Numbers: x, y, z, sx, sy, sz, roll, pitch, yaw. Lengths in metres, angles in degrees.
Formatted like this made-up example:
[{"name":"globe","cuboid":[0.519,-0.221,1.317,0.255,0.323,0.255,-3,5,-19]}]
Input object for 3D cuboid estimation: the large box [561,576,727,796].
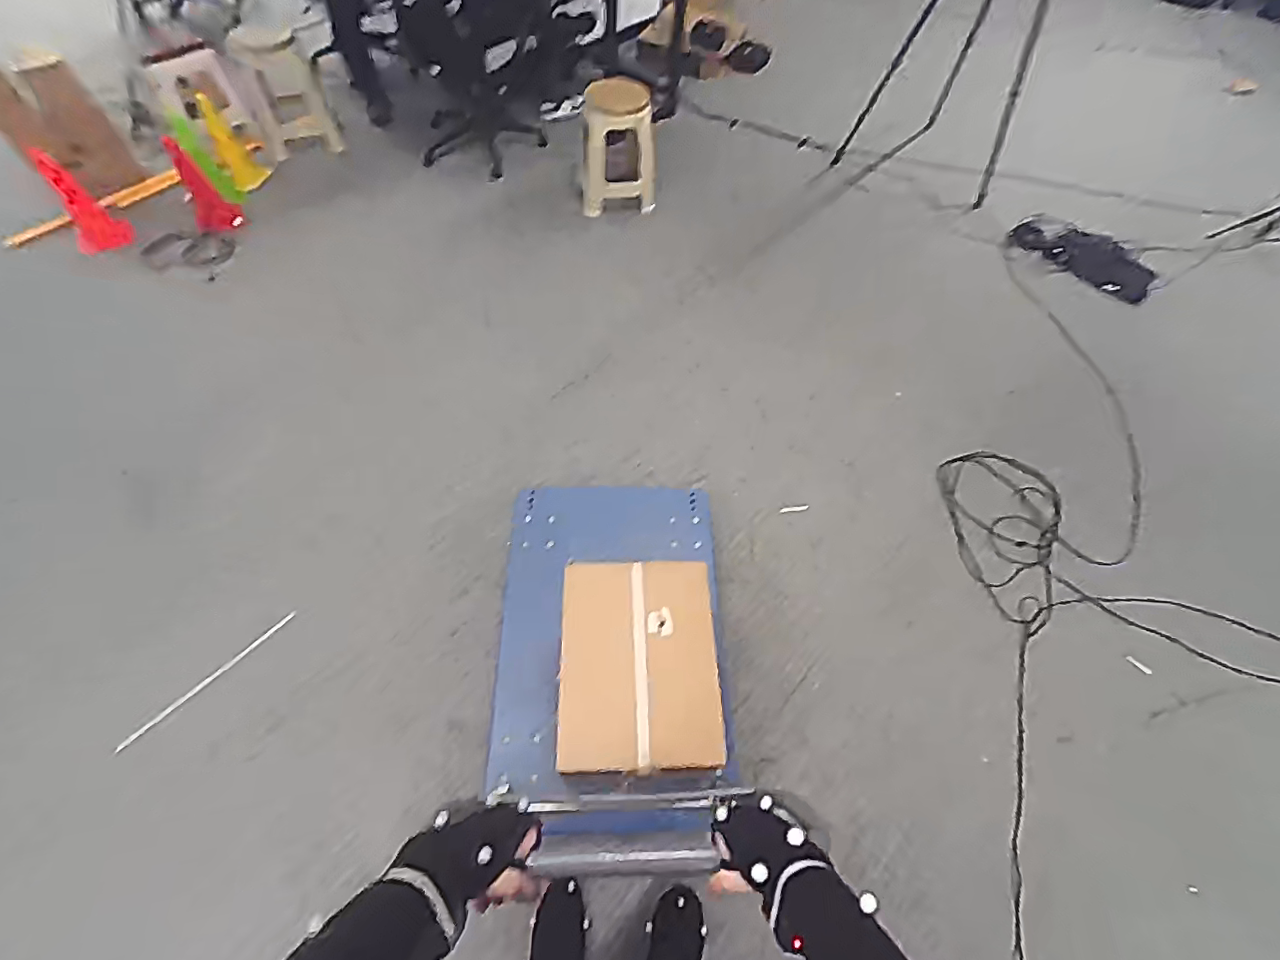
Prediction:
[{"name":"large box","cuboid":[-0.006,0.467,1.221,0.320,0.320,0.408,0,56,-4]}]
